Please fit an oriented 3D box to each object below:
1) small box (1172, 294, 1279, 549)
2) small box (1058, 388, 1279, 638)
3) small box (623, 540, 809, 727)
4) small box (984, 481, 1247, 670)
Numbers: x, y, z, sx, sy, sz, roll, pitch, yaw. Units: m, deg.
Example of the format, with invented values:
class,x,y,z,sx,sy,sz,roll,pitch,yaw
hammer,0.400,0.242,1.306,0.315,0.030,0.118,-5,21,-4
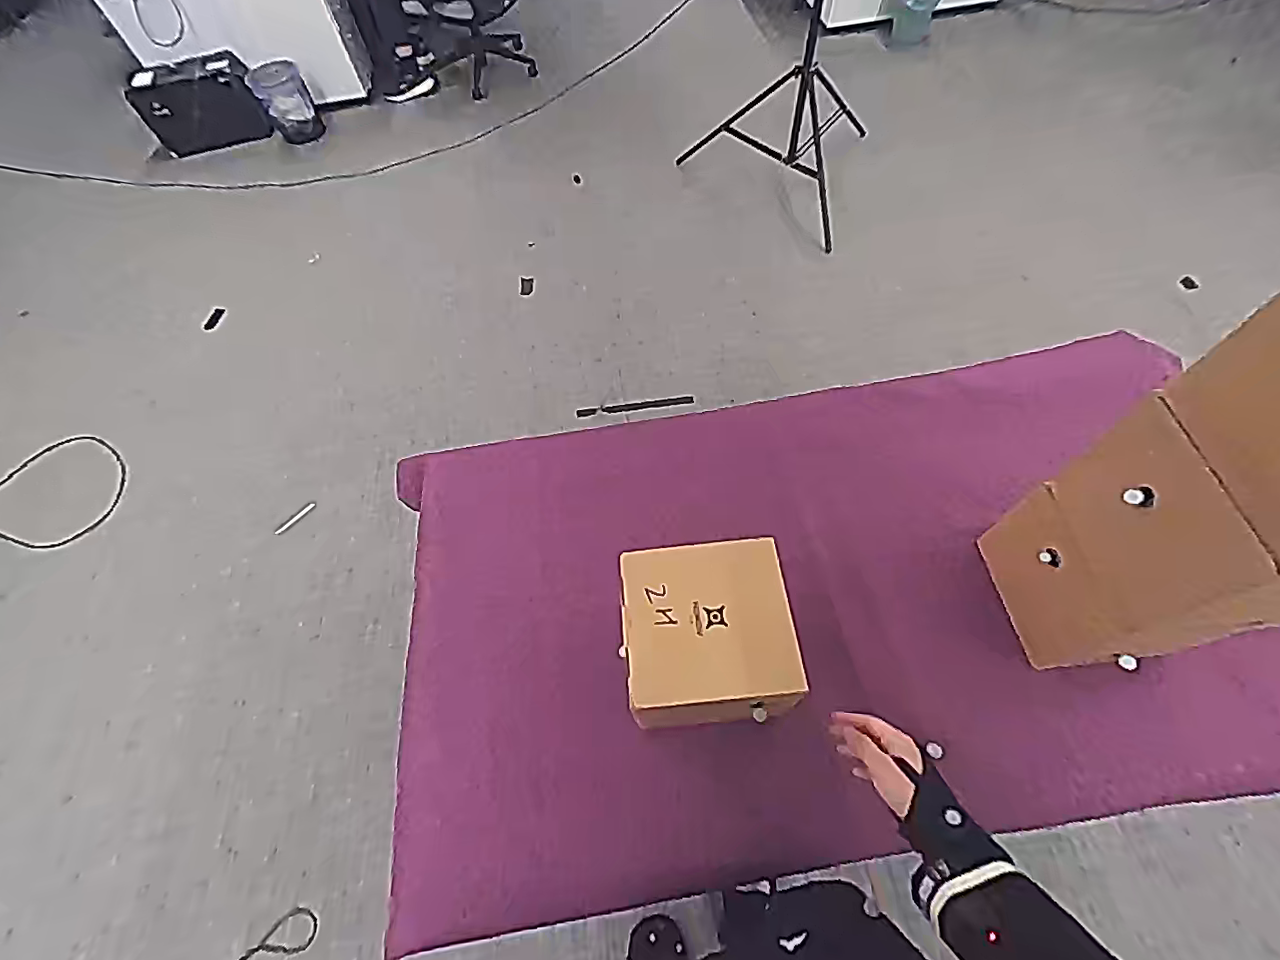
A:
class,x,y,z,sx,sy,sz,roll,pitch,yaw
small box,0.526,-0.047,0.348,0.168,0.176,0.179,-5,59,3
small box,0.537,0.030,0.492,0.168,0.176,0.179,-5,58,3
small box,0.077,0.185,0.630,0.179,0.176,0.168,-6,58,2
small box,0.549,0.109,0.635,0.168,0.176,0.179,-7,60,1
